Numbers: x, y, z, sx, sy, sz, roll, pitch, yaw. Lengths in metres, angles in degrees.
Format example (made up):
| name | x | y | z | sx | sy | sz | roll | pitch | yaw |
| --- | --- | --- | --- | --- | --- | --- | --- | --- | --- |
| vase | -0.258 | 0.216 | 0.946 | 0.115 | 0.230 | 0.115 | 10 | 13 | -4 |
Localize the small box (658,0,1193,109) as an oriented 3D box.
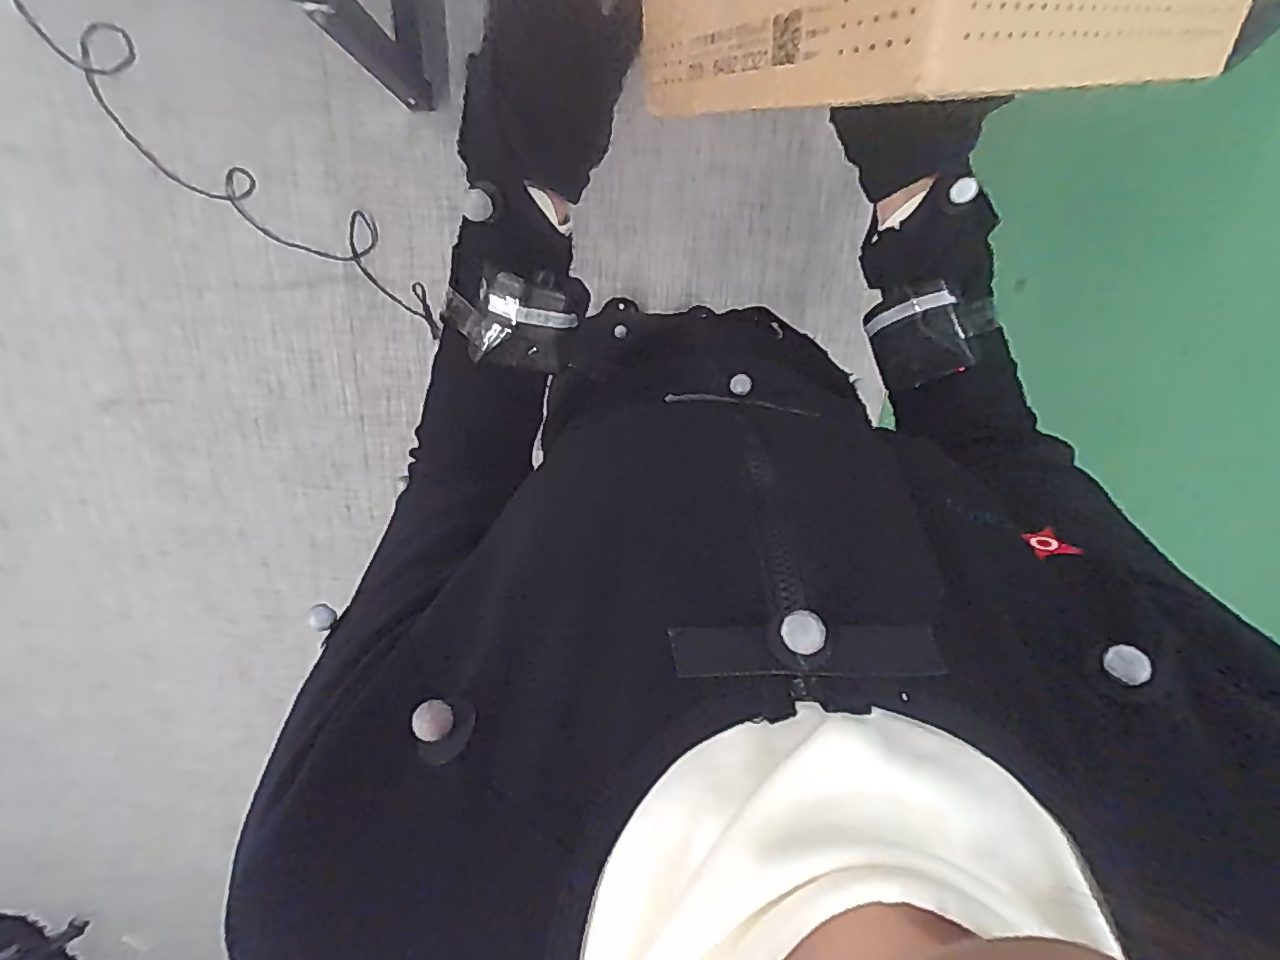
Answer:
| name | x | y | z | sx | sy | sz | roll | pitch | yaw |
| --- | --- | --- | --- | --- | --- | --- | --- | --- | --- |
| small box | 0.112 | -0.251 | 0.212 | 0.179 | 0.168 | 0.176 | -20 | 126 | -21 |
